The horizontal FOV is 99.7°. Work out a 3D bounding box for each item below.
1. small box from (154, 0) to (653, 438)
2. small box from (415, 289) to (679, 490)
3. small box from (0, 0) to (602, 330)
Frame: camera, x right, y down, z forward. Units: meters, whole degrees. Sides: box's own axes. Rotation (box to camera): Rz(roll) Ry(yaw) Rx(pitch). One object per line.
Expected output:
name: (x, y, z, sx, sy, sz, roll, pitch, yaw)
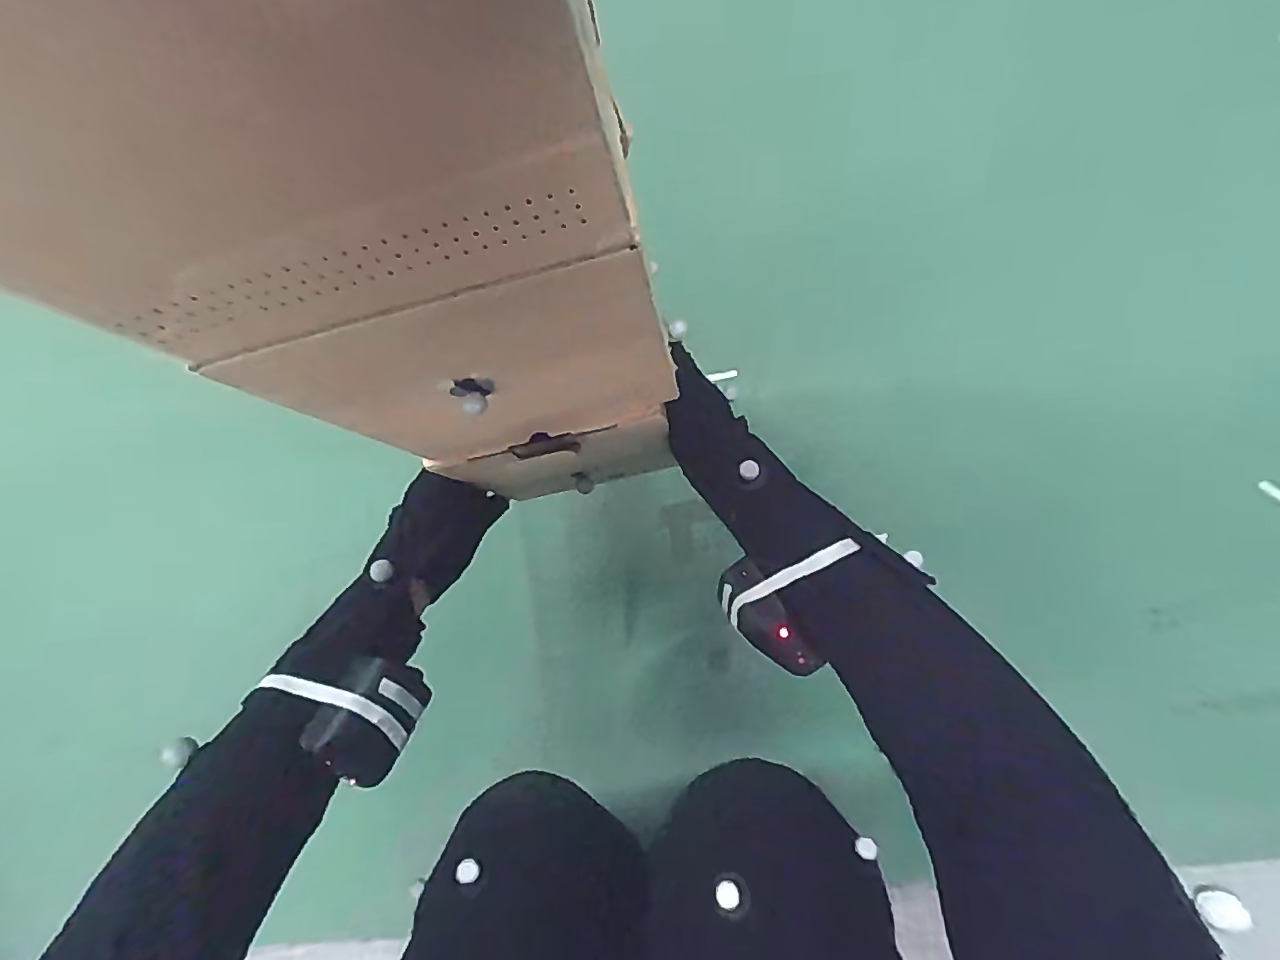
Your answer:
small box: (-0.092, -0.131, 0.277, 0.179, 0.176, 0.168, -10, 78, 7)
small box: (-0.069, -0.101, 0.439, 0.168, 0.176, 0.179, -13, 79, 8)
small box: (-0.122, -0.156, 0.121, 0.179, 0.176, 0.168, -13, 79, 7)
